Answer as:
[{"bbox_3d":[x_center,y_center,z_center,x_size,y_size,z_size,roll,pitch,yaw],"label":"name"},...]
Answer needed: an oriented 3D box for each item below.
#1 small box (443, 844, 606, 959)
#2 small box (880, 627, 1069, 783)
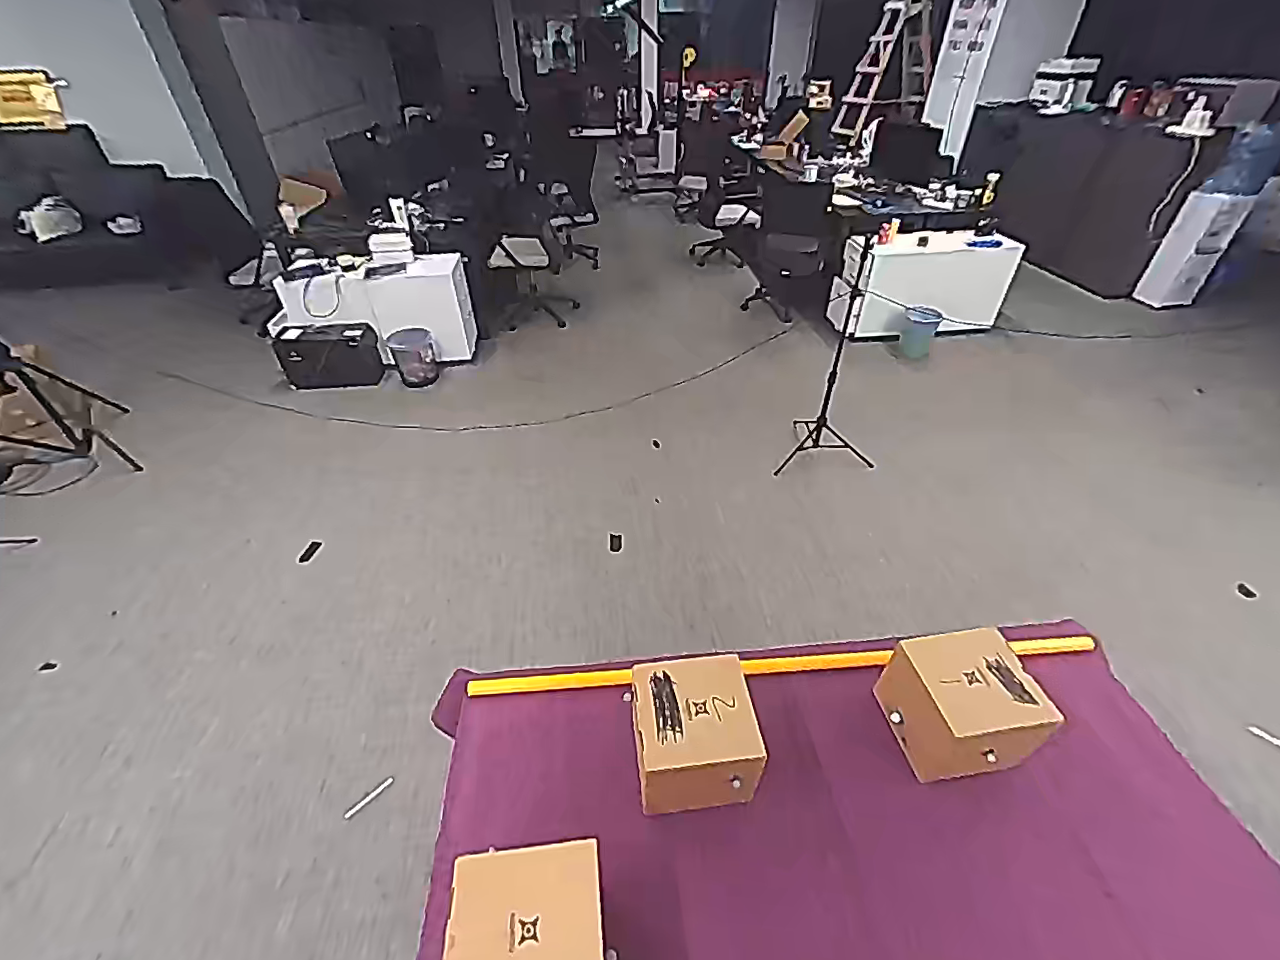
[{"bbox_3d":[-0.129,0.569,0.649,0.179,0.176,0.168,-5,39,-6],"label":"small box"},{"bbox_3d":[0.526,0.367,0.881,0.179,0.176,0.168,-7,41,-5],"label":"small box"}]
